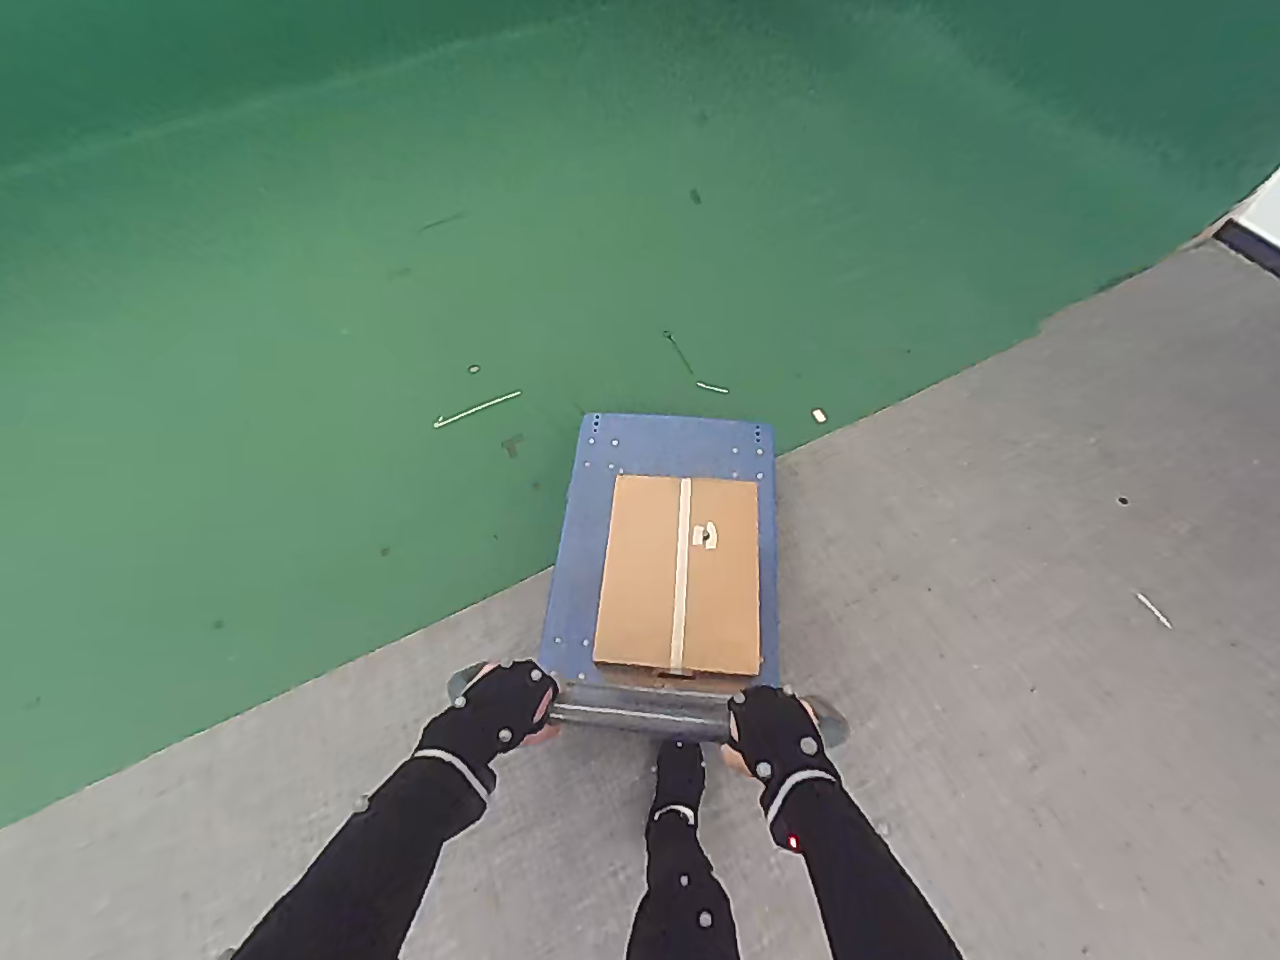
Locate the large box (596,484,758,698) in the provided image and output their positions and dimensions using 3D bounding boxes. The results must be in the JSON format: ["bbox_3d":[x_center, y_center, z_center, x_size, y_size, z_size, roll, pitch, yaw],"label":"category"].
[{"bbox_3d":[0.091,0.262,1.245,0.320,0.320,0.408,4,61,4],"label":"large box"}]
